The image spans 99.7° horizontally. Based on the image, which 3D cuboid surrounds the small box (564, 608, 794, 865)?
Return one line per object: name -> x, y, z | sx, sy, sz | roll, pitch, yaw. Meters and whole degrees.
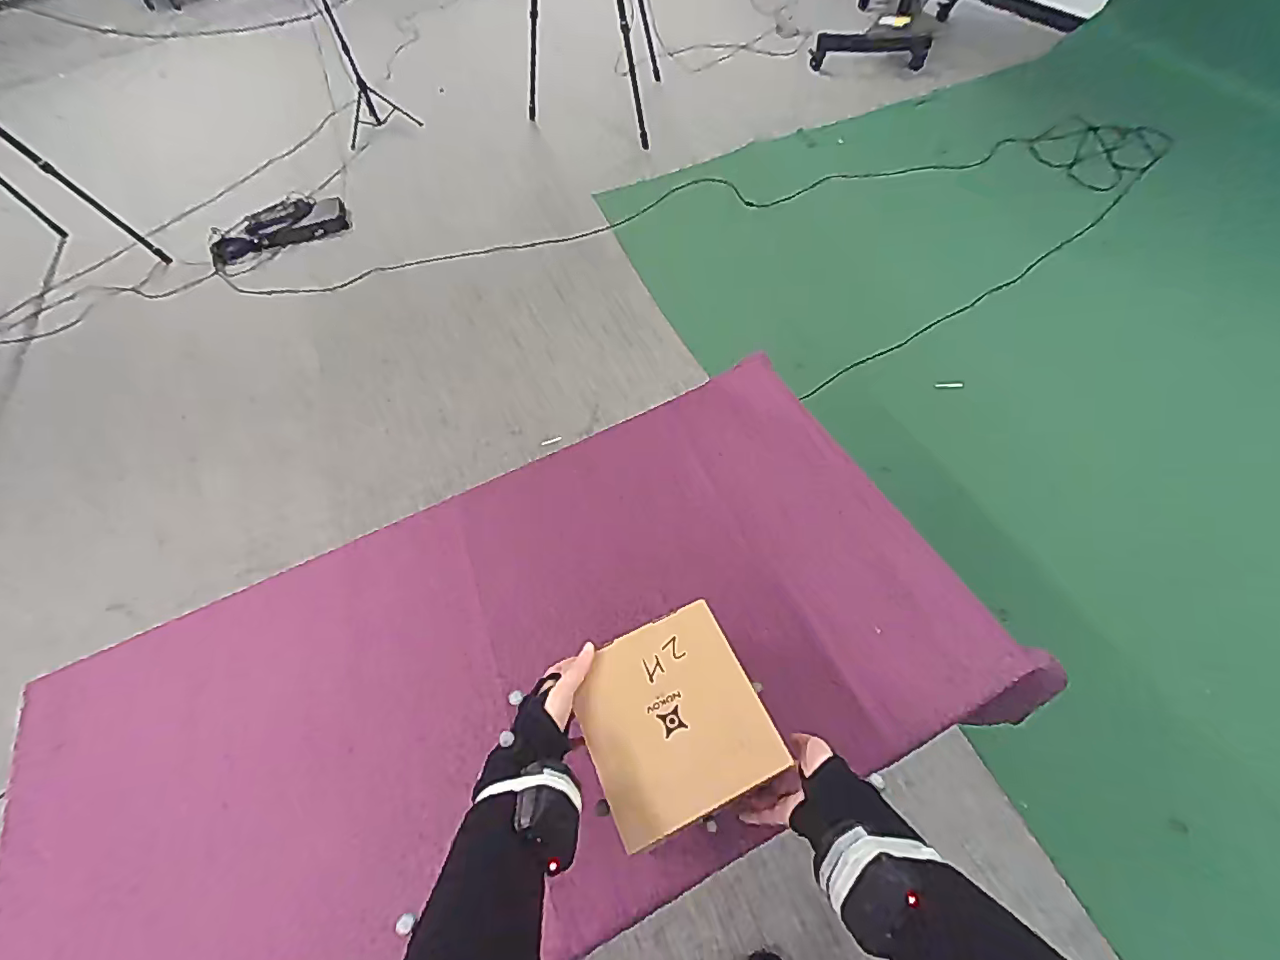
small box -> 0.039, 0.271, 0.575 | 0.168, 0.176, 0.179 | -24, 57, -9
